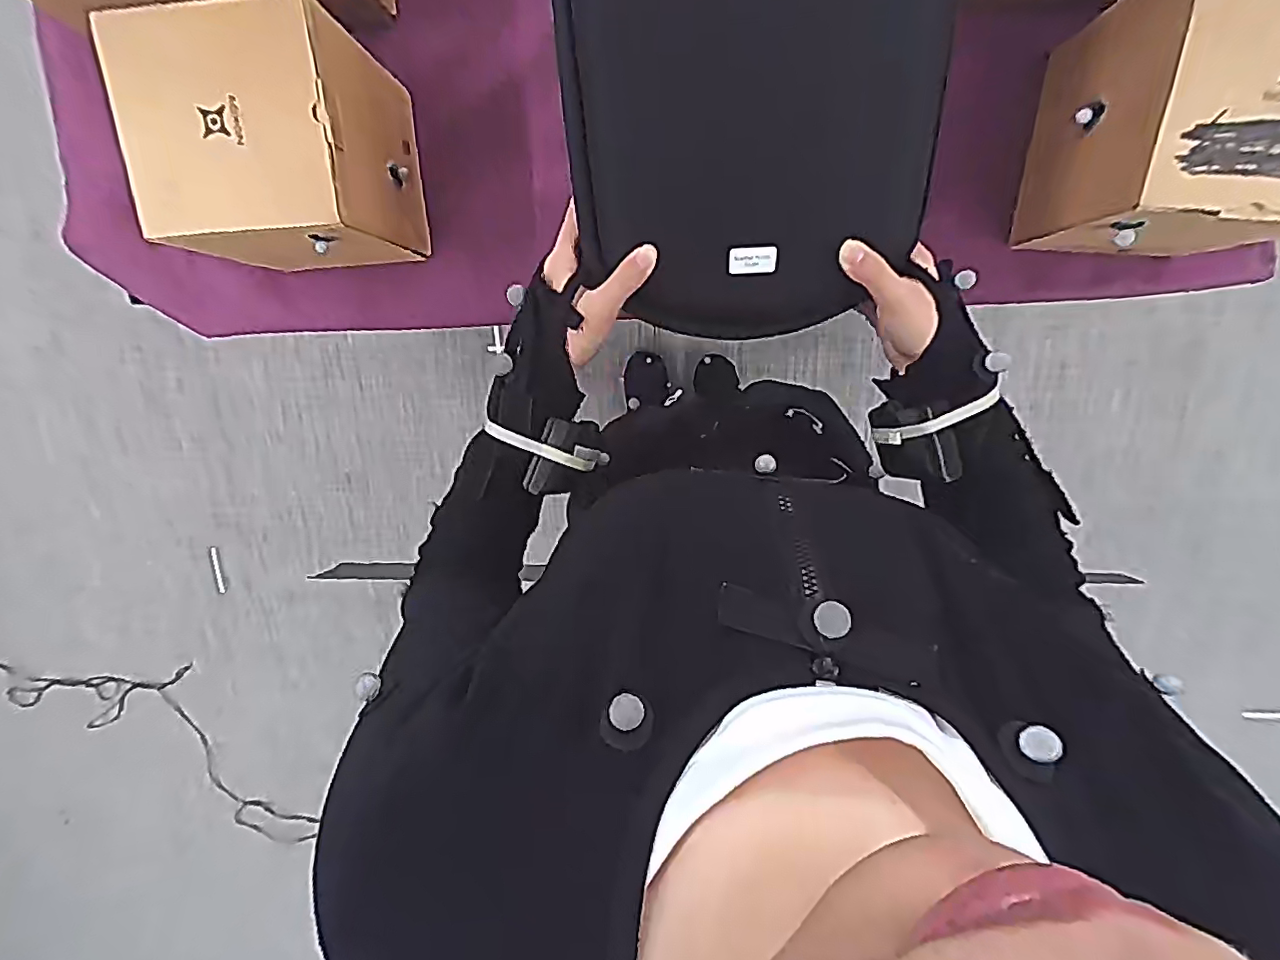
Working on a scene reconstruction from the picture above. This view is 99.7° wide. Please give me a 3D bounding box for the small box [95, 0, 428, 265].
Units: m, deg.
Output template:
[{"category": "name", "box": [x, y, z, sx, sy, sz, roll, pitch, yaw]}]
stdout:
[{"category": "small box", "box": [-0.328, -0.306, 0.507, 0.179, 0.176, 0.168, -3, 103, 3]}]
